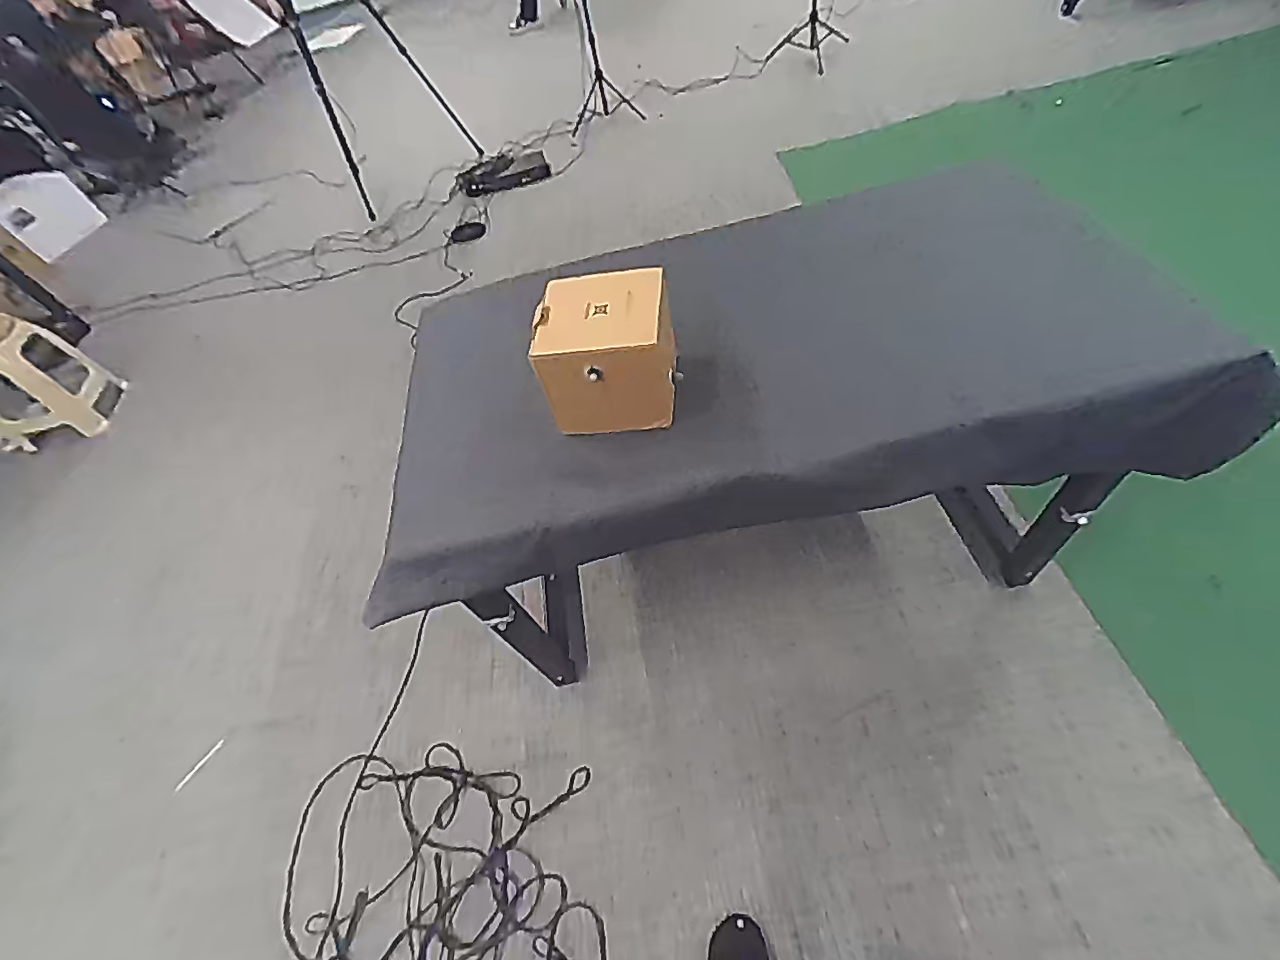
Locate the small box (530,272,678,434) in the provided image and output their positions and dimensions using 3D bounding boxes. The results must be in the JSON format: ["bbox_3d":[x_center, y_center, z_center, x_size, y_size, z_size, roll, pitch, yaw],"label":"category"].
[{"bbox_3d":[-0.042,-0.182,0.809,0.179,0.176,0.168,-2,55,10],"label":"small box"}]
